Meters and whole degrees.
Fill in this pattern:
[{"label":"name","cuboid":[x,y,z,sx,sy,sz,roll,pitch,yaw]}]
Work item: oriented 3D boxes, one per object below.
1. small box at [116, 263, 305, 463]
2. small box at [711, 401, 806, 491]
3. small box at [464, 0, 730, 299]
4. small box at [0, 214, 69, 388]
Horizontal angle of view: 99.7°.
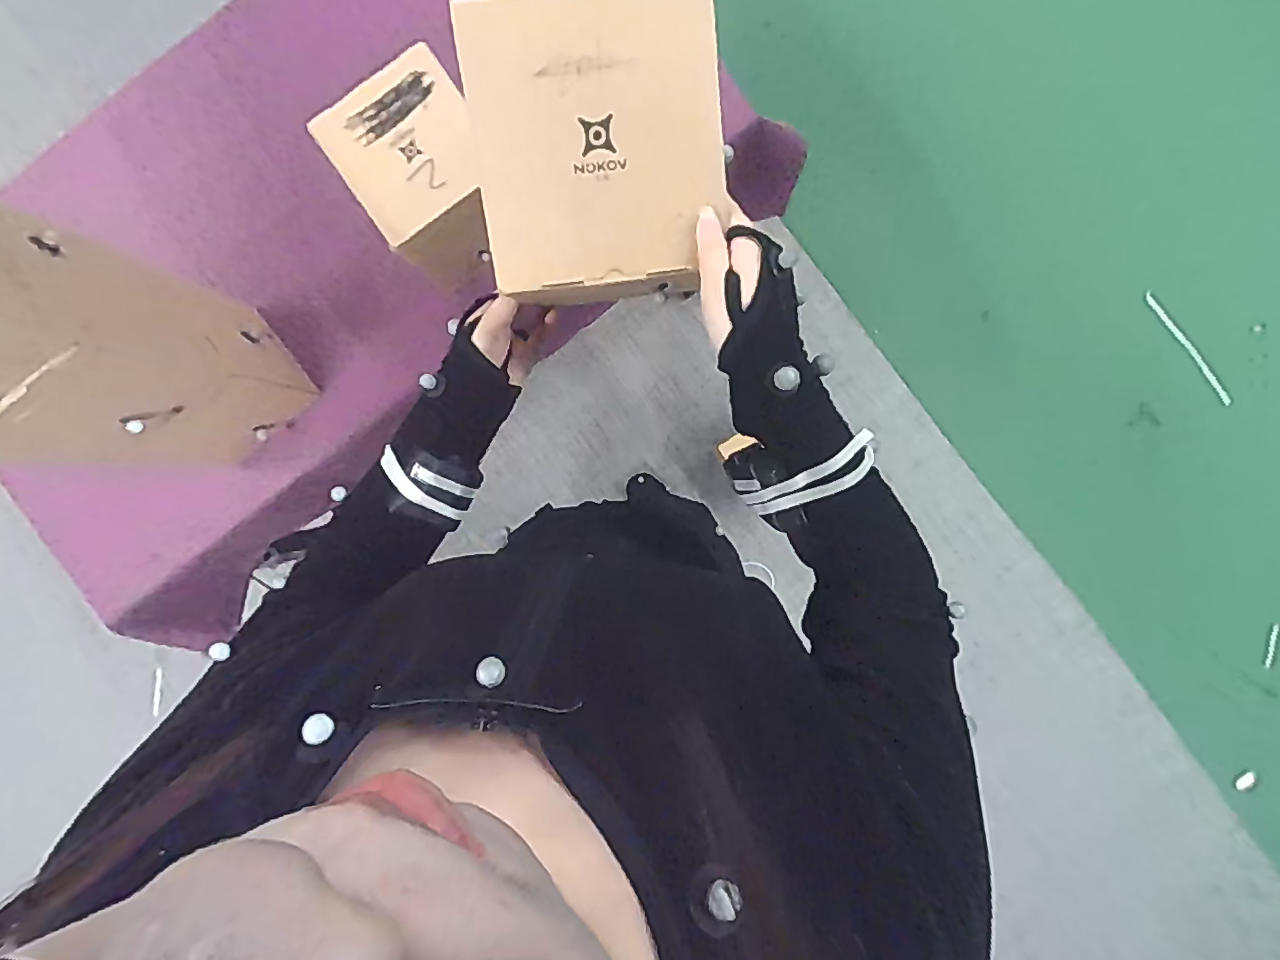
[{"label":"small box","cuboid":[-0.582,-0.138,0.706,0.179,0.176,0.168,-39,90,1]},{"label":"small box","cuboid":[0.300,-0.085,1.423,0.179,0.176,0.168,-34,91,1]},{"label":"small box","cuboid":[-0.025,-0.244,0.436,0.168,0.176,0.179,-6,105,-1]},{"label":"small box","cuboid":[-0.587,-0.138,0.376,0.179,0.176,0.168,-36,91,1]}]
